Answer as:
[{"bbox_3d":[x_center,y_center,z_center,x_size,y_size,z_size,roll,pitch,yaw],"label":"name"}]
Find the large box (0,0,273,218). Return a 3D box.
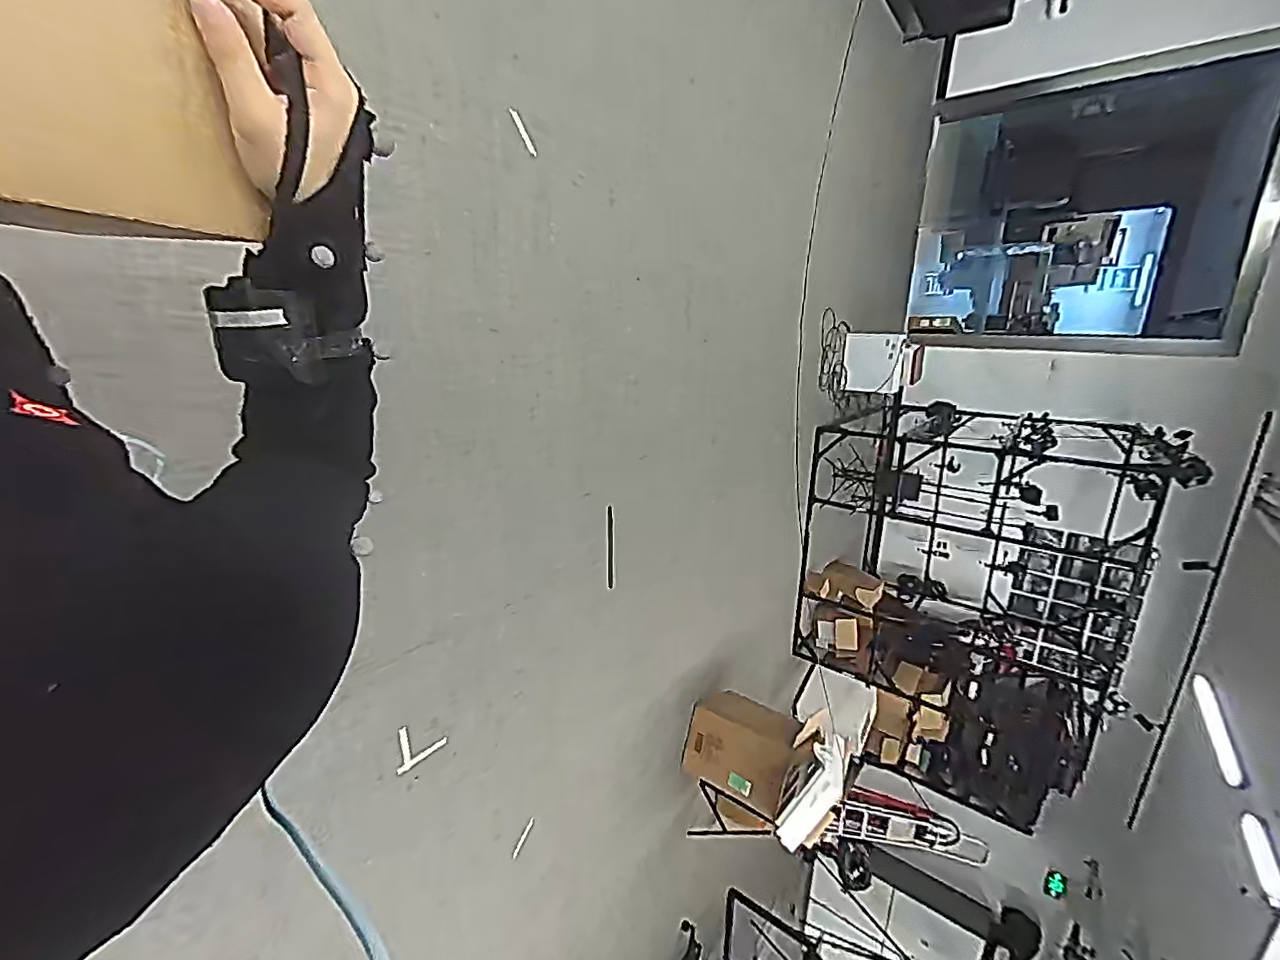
[{"bbox_3d":[-0.436,-0.298,0.191,0.408,0.320,0.320,-19,121,-56],"label":"large box"}]
